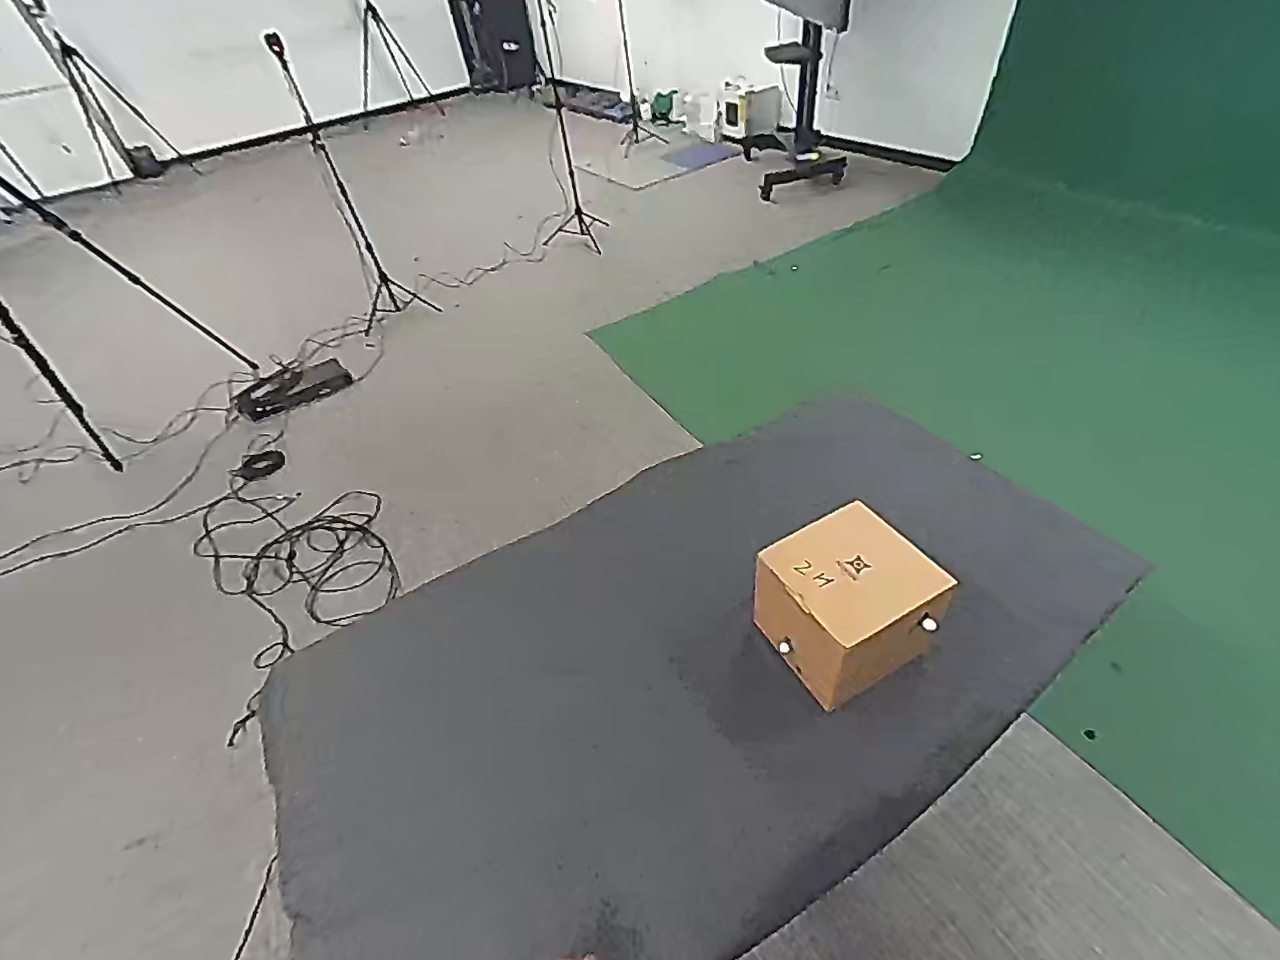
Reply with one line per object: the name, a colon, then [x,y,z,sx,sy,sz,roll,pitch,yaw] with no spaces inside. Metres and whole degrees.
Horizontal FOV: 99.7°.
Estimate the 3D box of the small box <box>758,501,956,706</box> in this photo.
small box: [0.274,0.166,0.727,0.179,0.176,0.168,-25,46,-14]
